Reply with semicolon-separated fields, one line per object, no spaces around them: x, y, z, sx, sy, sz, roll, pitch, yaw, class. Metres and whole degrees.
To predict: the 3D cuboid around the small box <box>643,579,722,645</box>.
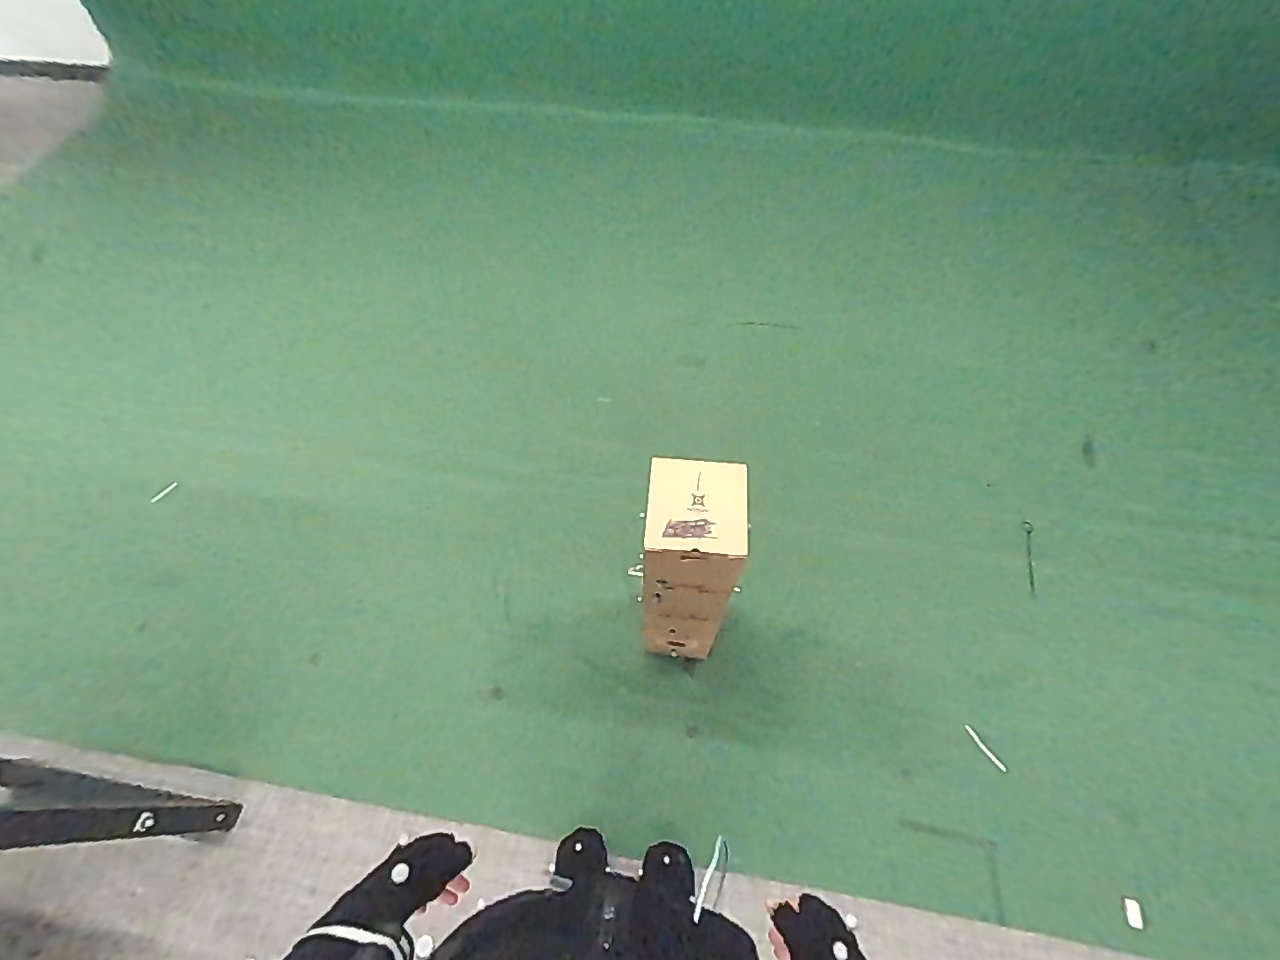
0.097;0.264;1.243;0.168;0.176;0.179;5;60;3;small box

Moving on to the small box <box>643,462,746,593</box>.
0.095;0.090;0.964;0.168;0.176;0.179;5;58;3;small box

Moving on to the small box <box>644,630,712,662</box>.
0.100;0.349;1.381;0.168;0.176;0.179;6;59;5;small box
